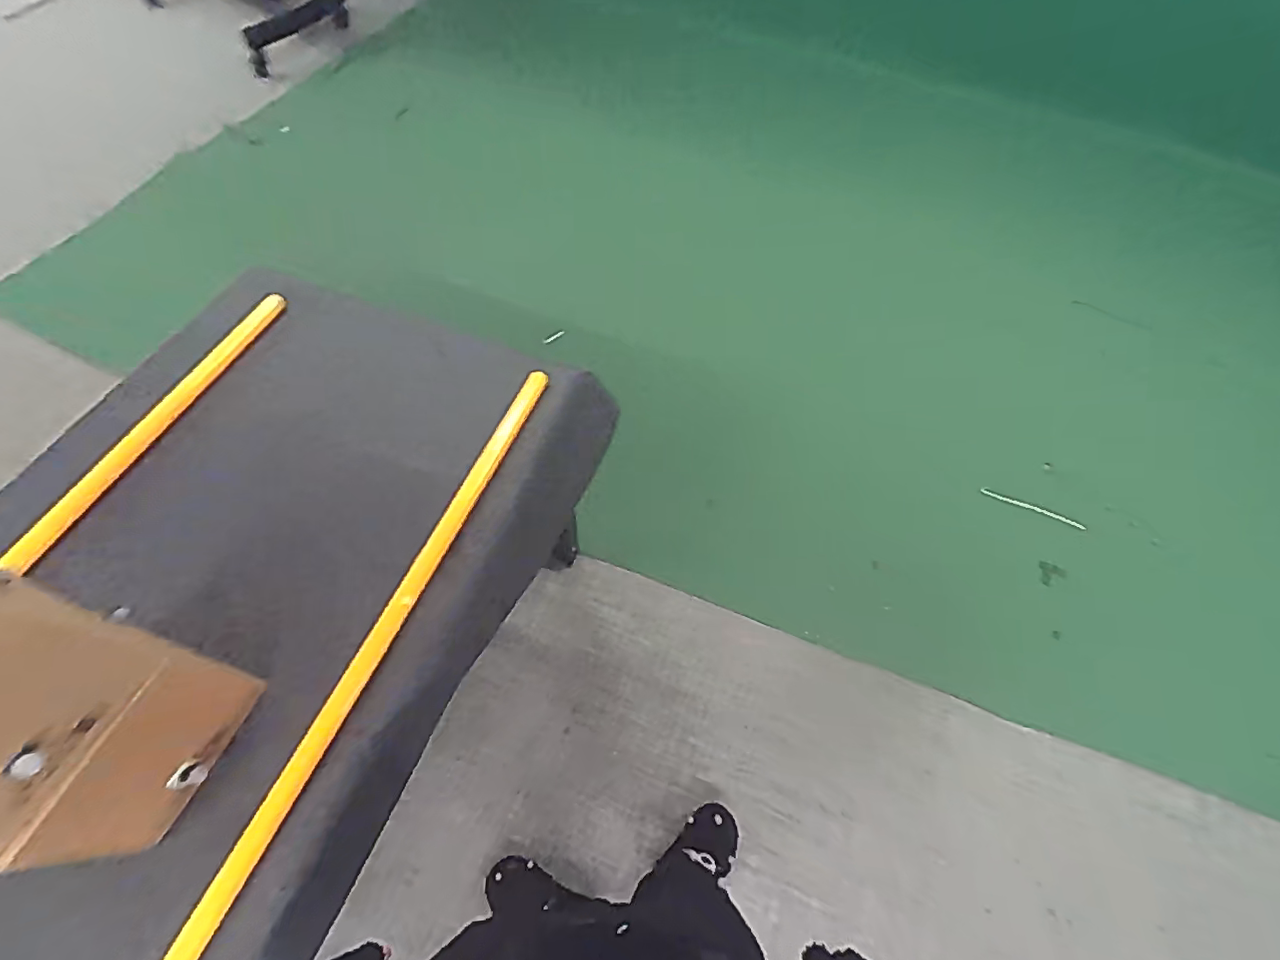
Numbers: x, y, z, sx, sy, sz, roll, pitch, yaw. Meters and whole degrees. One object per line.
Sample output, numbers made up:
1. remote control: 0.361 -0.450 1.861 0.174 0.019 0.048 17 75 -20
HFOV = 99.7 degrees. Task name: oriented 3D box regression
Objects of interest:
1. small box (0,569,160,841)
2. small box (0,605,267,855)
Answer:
1. small box: -0.516 0.144 0.376 0.179 0.176 0.168 22 62 8
2. small box: -0.522 0.227 0.519 0.179 0.176 0.168 19 62 5
